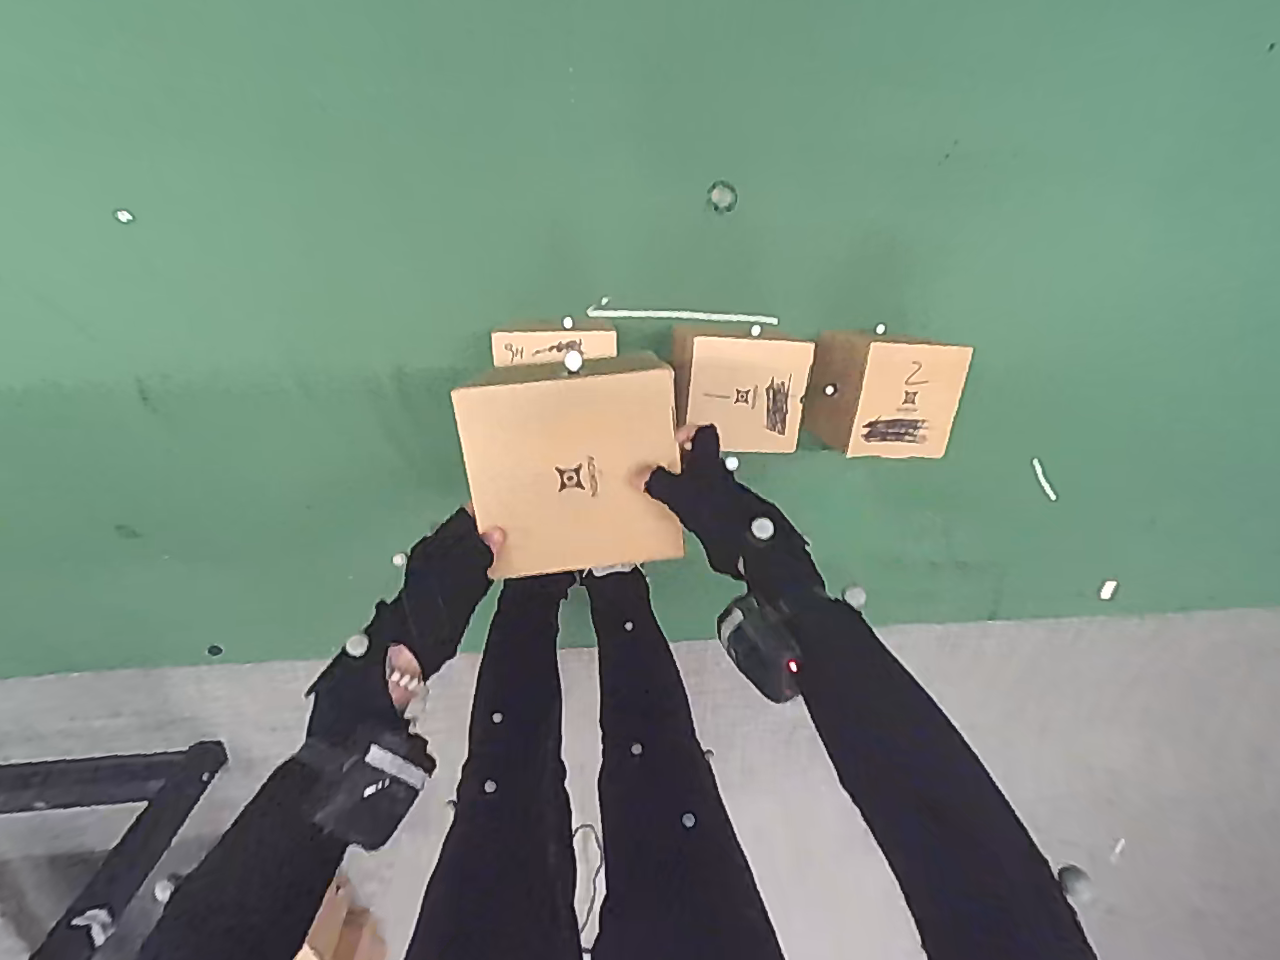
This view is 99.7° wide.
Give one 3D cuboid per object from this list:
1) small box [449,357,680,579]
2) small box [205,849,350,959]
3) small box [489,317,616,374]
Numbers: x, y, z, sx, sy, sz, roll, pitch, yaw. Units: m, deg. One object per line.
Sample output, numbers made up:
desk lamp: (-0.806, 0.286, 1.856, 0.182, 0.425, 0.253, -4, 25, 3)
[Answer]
small box: (-0.063, -0.023, 0.522, 0.179, 0.176, 0.168, -6, 109, -3)
small box: (-0.768, 0.943, 1.168, 0.179, 0.176, 0.168, -12, 115, -2)
small box: (-0.123, -0.141, 0.806, 0.168, 0.176, 0.179, -2, 114, -7)
